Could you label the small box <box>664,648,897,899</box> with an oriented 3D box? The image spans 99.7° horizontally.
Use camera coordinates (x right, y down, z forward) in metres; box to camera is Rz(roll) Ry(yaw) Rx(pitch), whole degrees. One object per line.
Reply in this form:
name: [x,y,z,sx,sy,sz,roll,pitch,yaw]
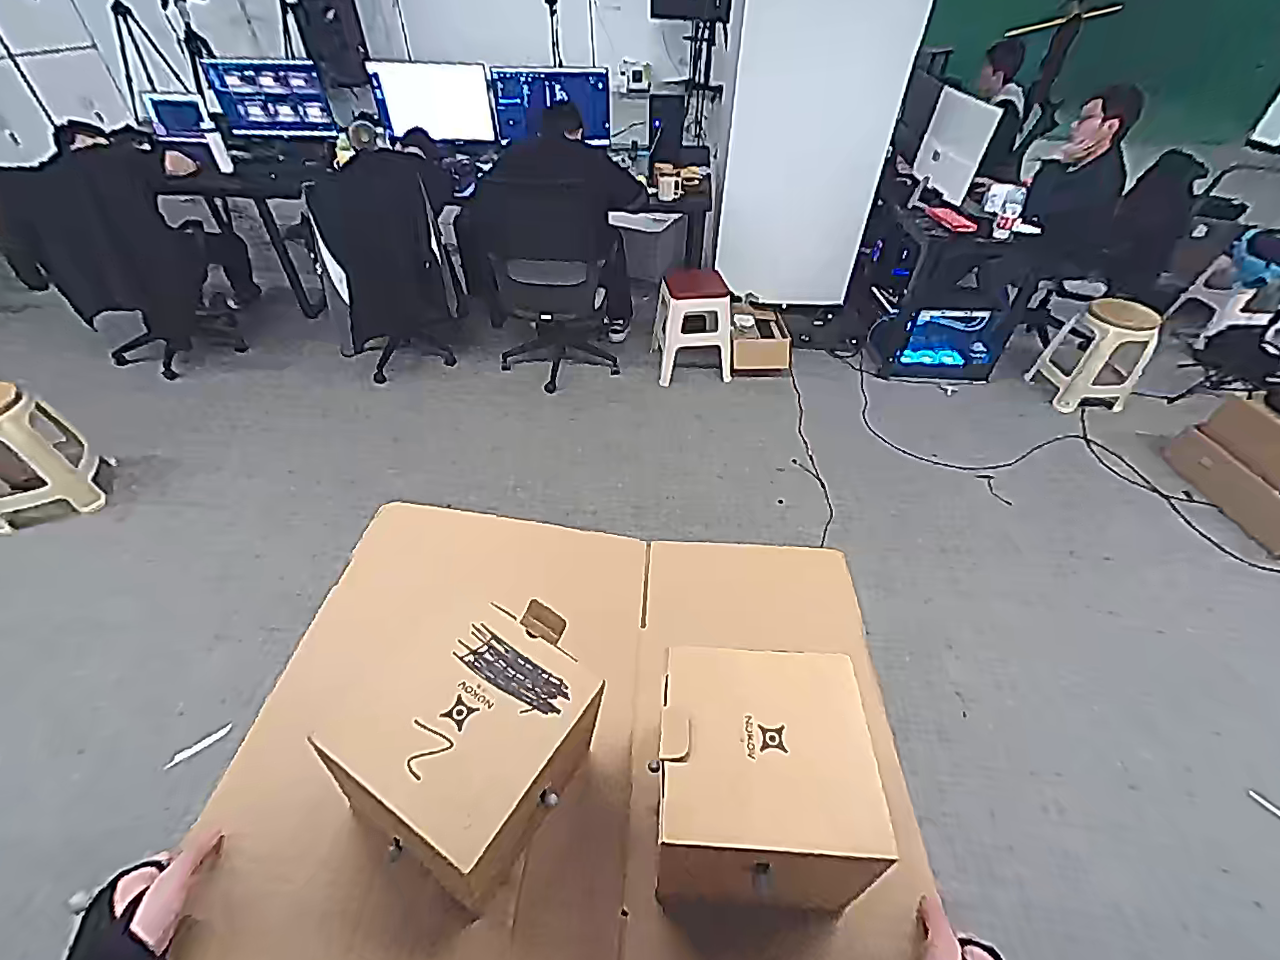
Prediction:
small box: [0.114,0.283,0.521,0.179,0.176,0.168,1,42,3]
